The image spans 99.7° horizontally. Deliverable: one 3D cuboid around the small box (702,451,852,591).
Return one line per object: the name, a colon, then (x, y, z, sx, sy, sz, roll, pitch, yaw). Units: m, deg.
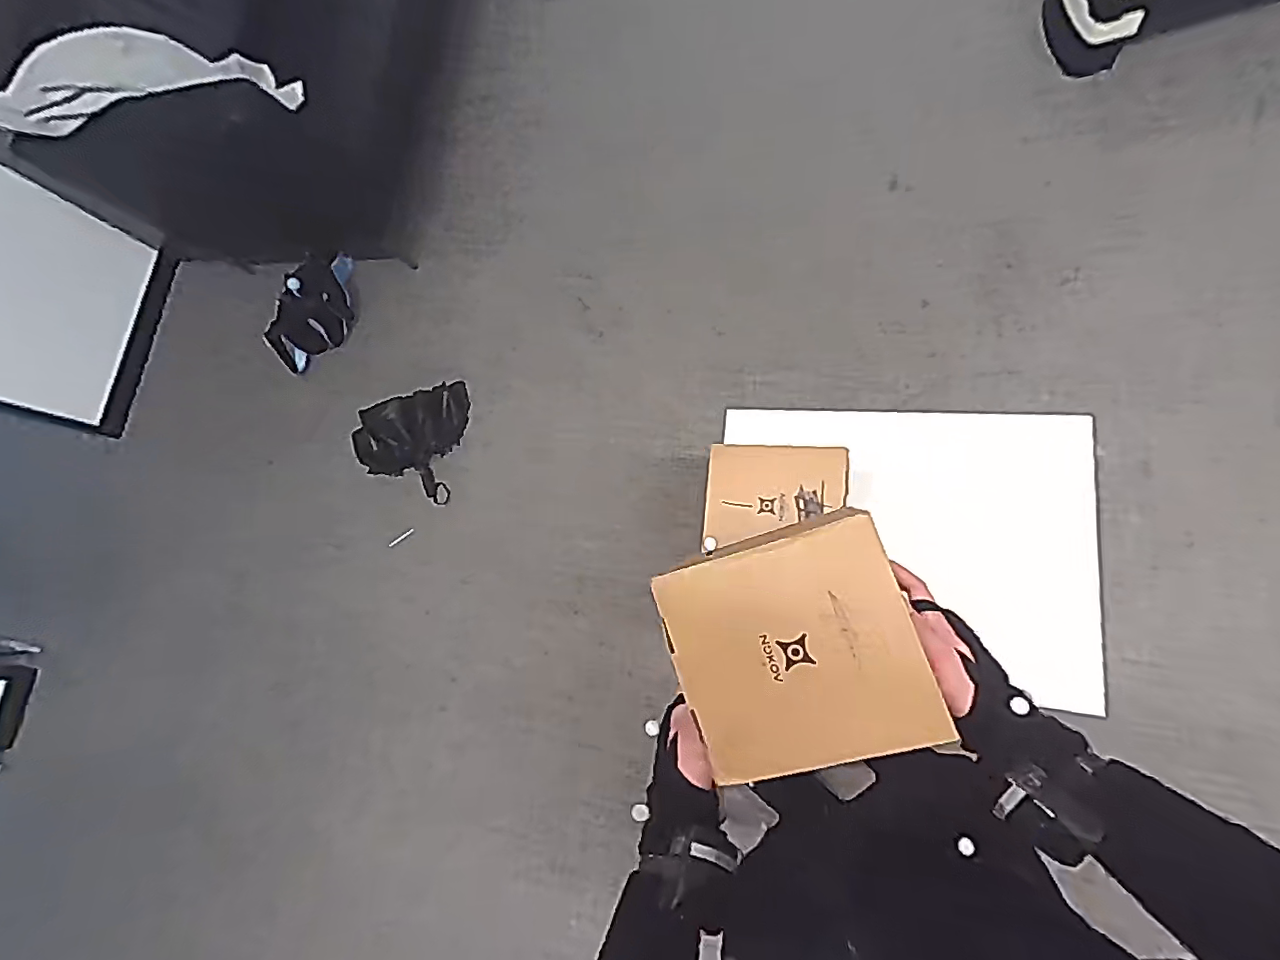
small box: (0.194, 0.063, 0.757, 0.179, 0.176, 0.168, 3, 77, 18)
